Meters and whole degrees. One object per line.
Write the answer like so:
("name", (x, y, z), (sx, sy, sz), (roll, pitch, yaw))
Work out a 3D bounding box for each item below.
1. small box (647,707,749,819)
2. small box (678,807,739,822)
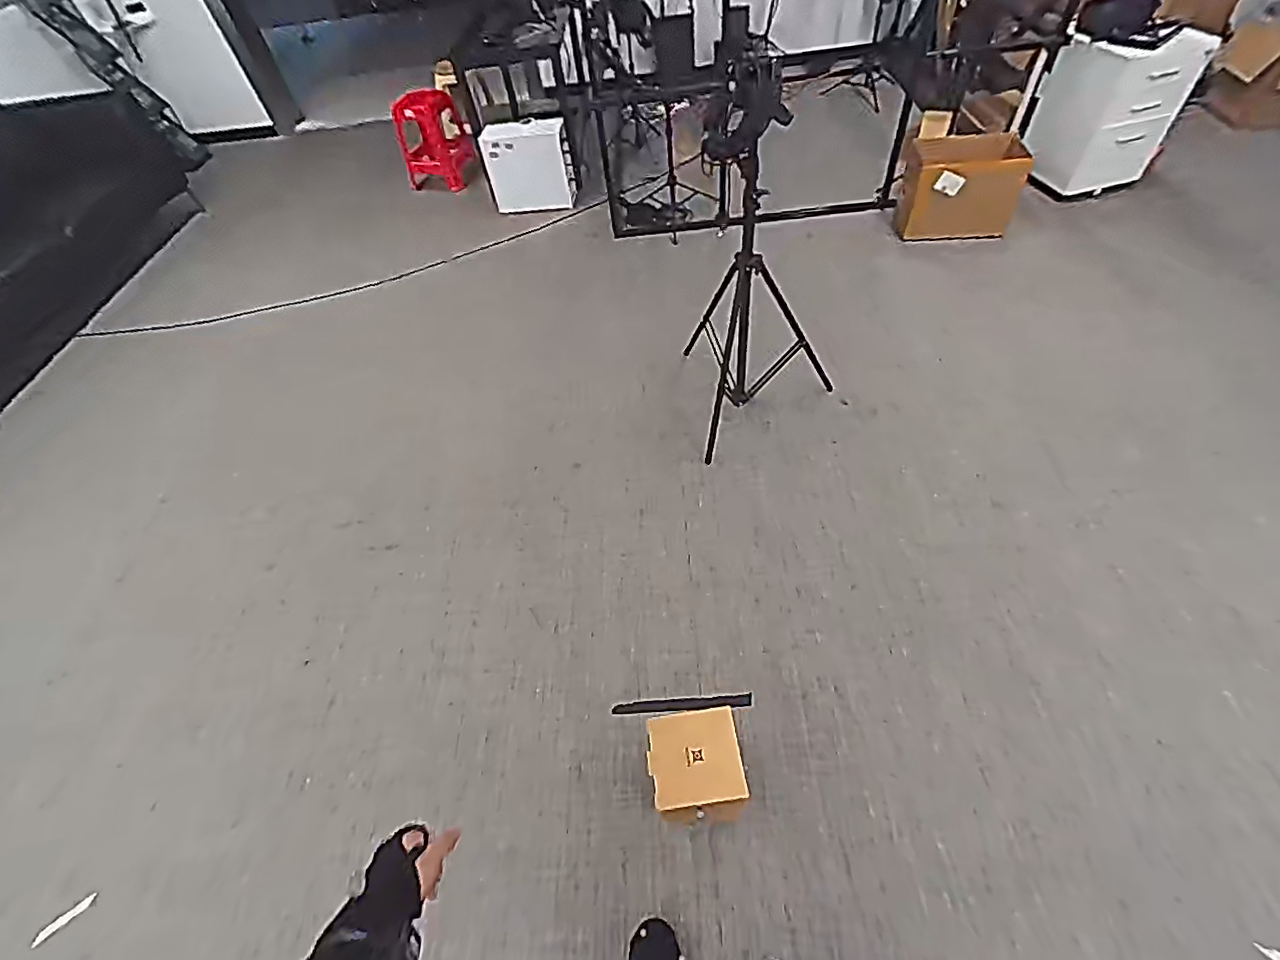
("small box", (0.115, 0.581, 1.105), (0.179, 0.176, 0.168), (-10, 52, 1))
("small box", (0.139, 0.673, 1.238), (0.168, 0.176, 0.179), (-2, 51, 6))
